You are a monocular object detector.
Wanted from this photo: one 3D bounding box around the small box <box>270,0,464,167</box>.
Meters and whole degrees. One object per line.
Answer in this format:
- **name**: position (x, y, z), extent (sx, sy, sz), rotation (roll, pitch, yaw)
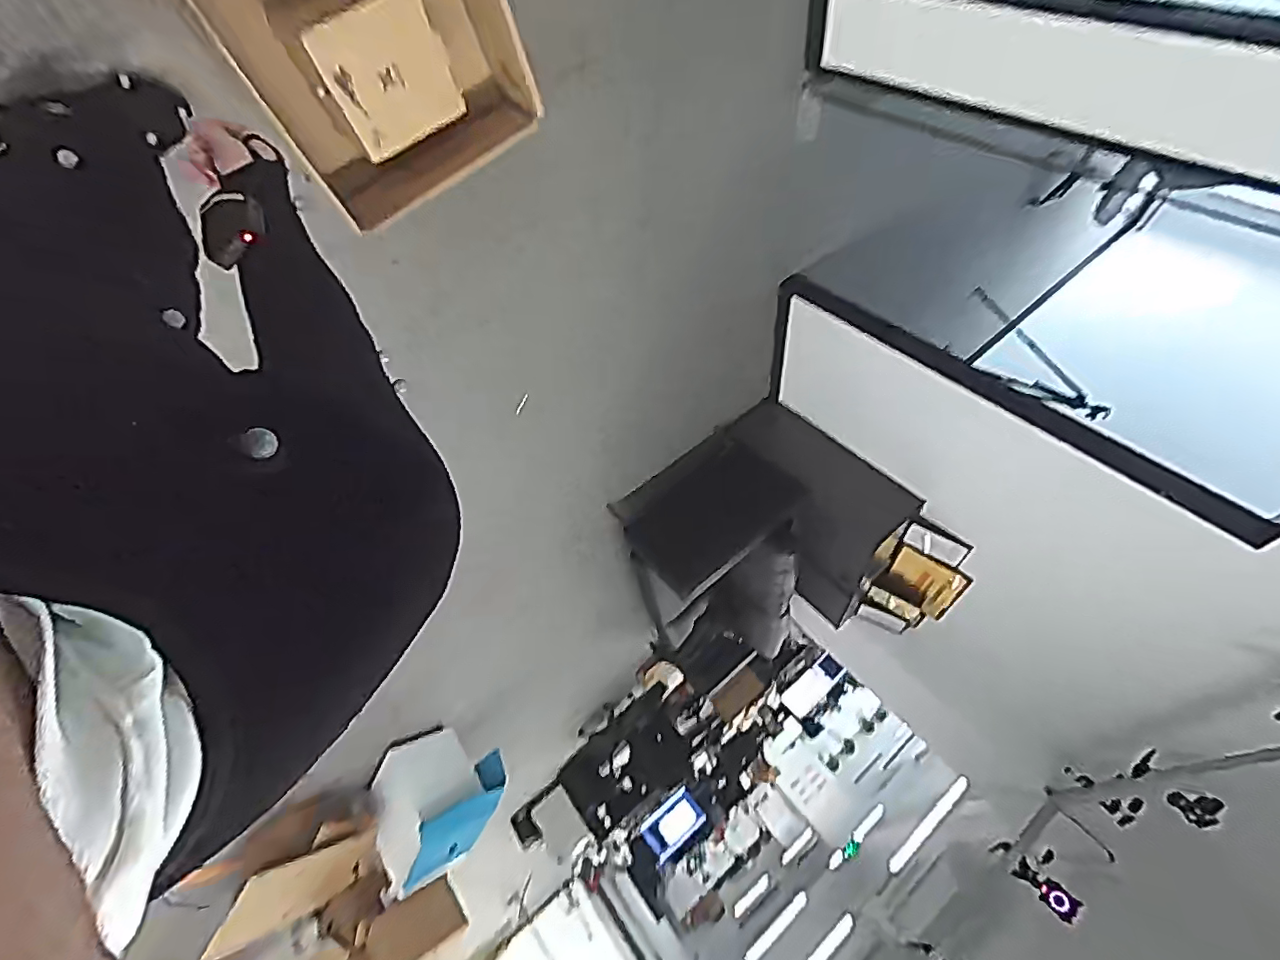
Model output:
- **small box**: position (-0.408, -0.618, 0.816), extent (0.179, 0.176, 0.168), rotation (-40, 149, -13)
